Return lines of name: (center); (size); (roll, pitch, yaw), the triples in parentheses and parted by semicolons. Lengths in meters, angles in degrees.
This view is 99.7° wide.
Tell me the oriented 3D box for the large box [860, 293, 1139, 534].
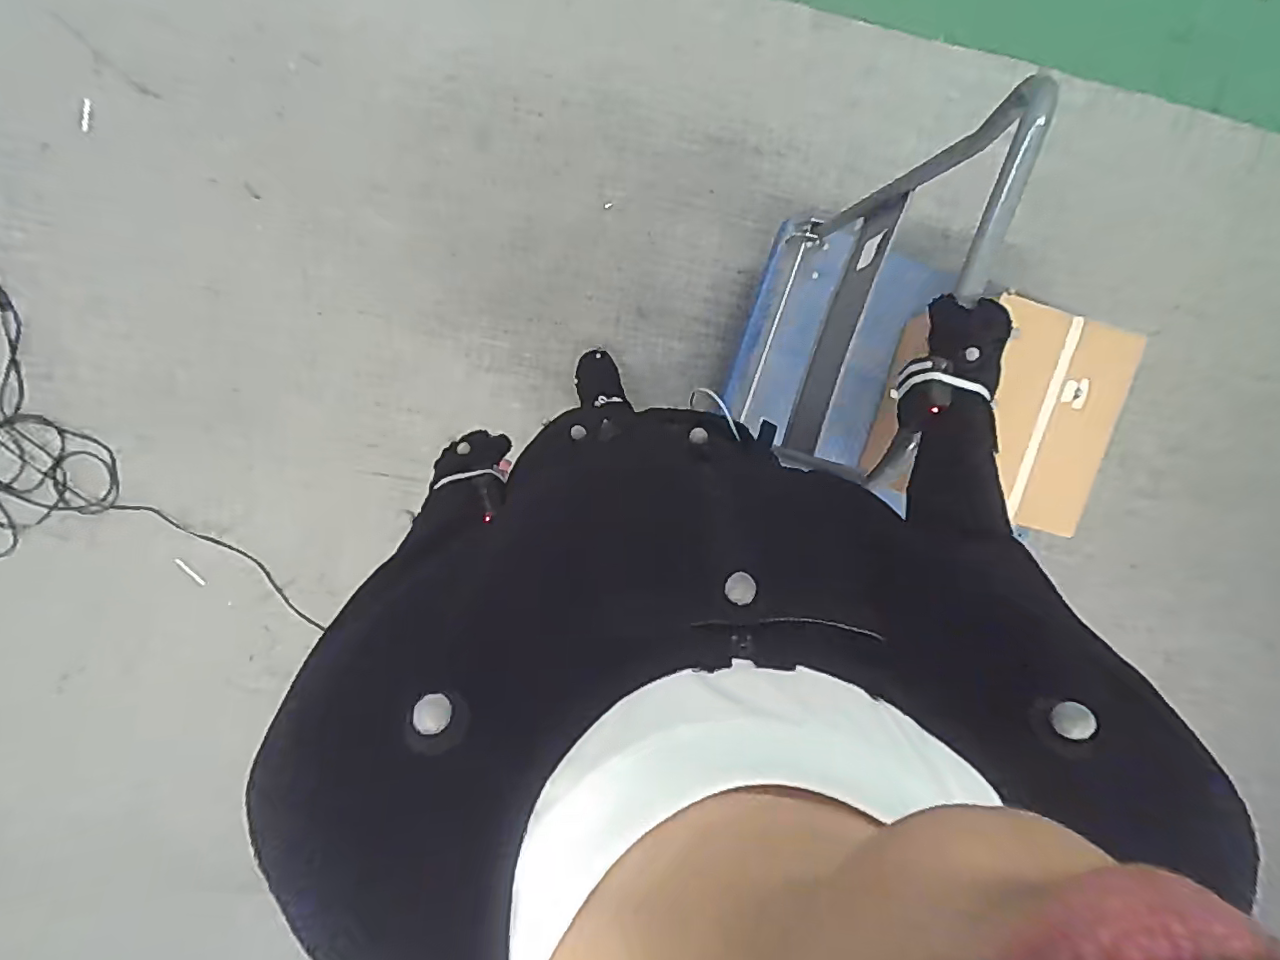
large box: (0.737, -0.135, 1.171); (0.320, 0.320, 0.408); (15, 96, -7)
